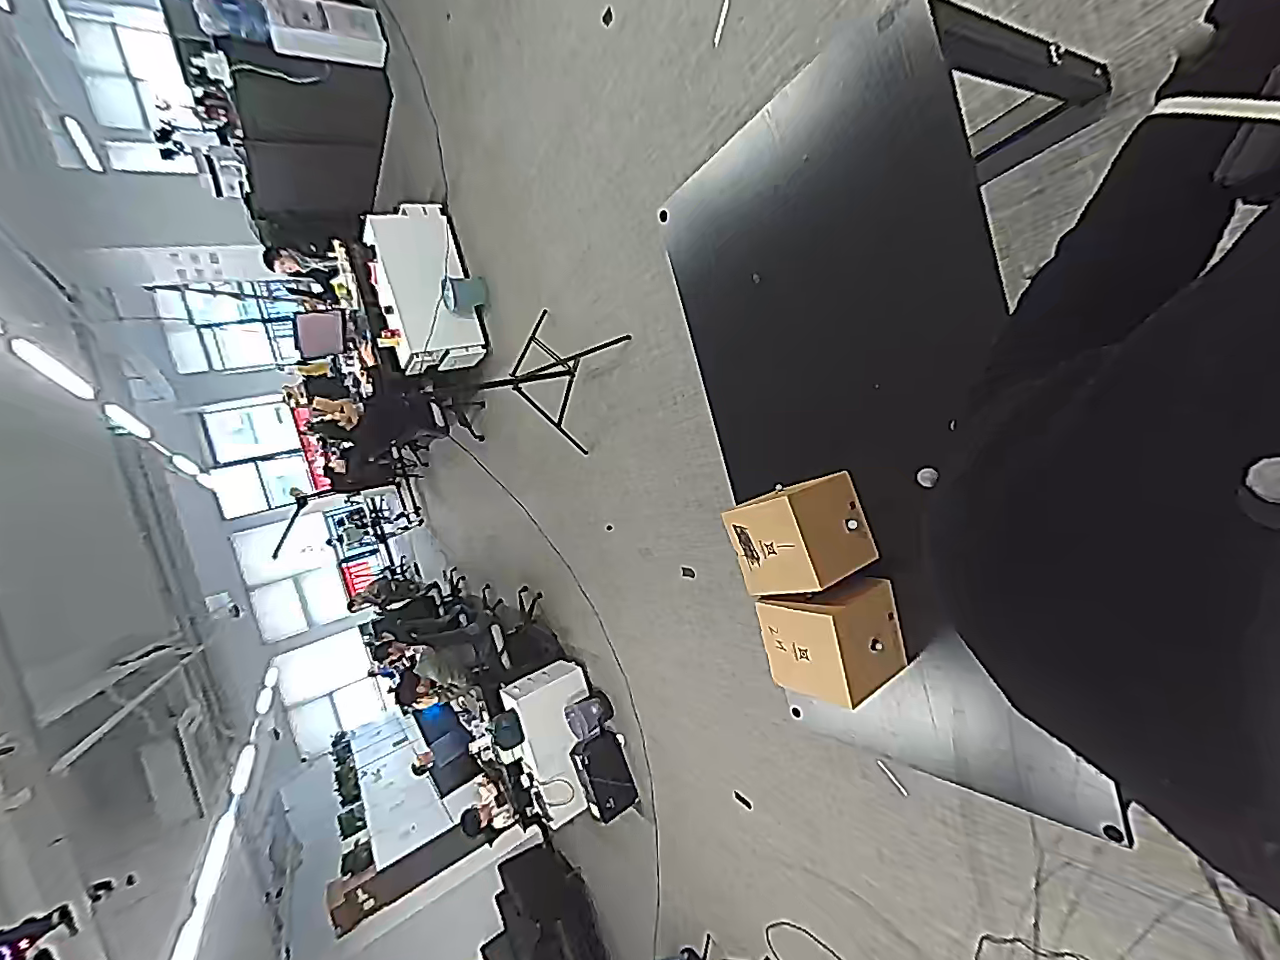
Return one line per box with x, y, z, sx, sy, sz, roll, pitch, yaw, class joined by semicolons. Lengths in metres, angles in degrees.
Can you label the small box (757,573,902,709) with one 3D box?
0.346;0.276;0.973;0.179;0.176;0.168;-6;98;58;small box
